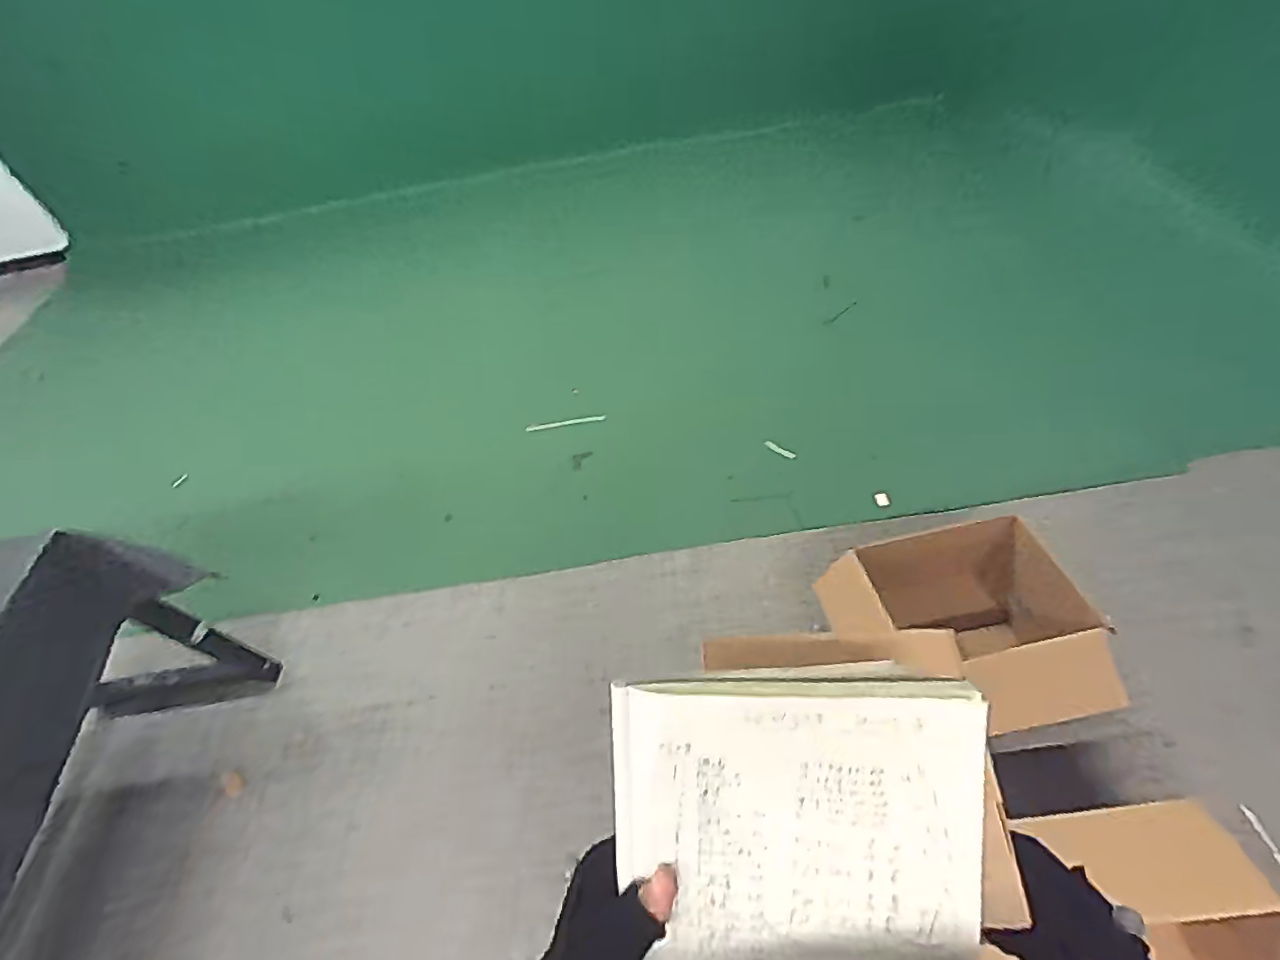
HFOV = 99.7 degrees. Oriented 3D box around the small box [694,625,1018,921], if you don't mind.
[{"bbox_3d":[0.132,0.211,0.413,0.179,0.176,0.168,-2,62,4],"label":"small box"}]
